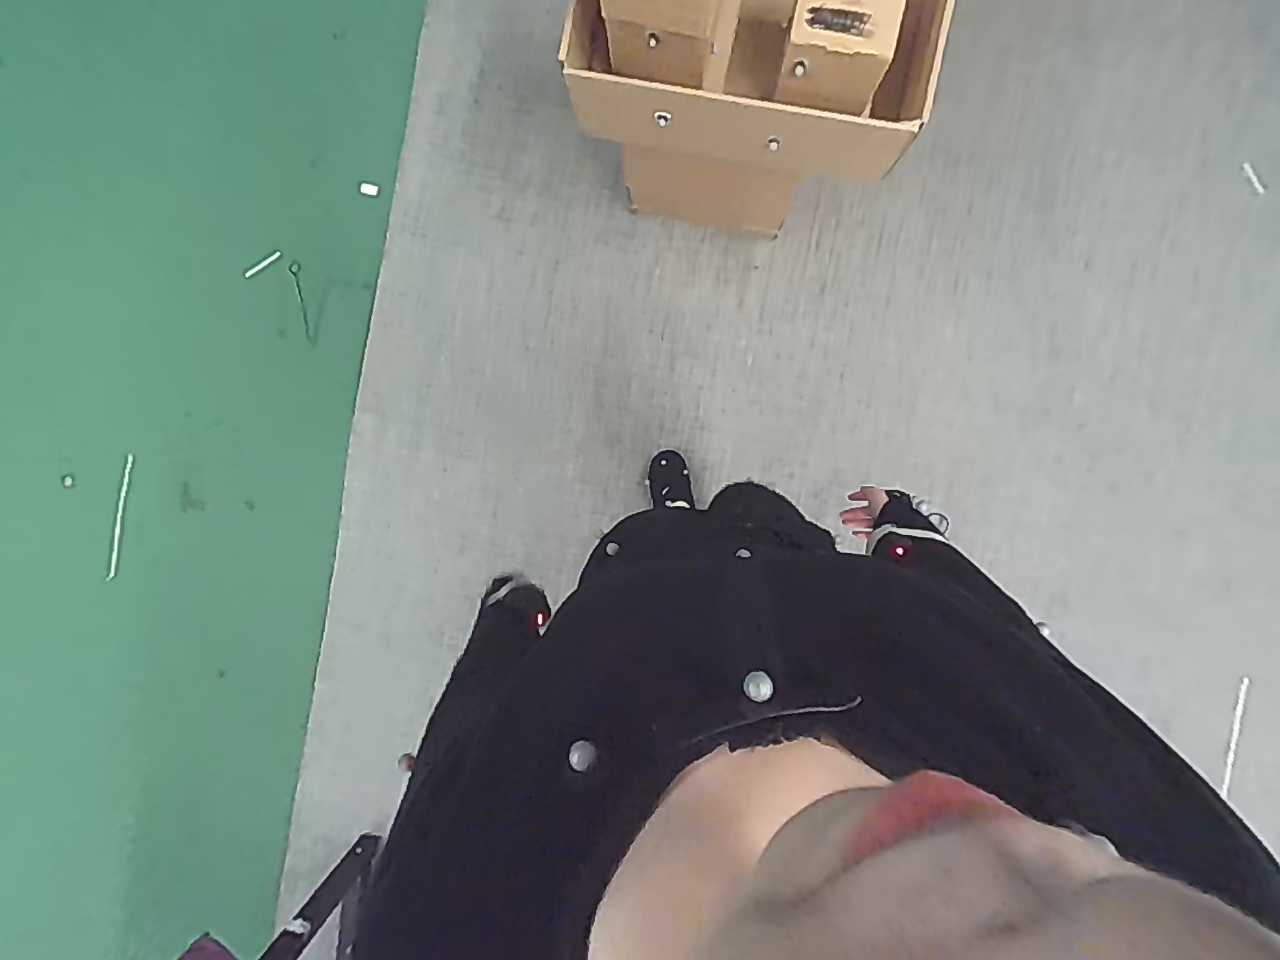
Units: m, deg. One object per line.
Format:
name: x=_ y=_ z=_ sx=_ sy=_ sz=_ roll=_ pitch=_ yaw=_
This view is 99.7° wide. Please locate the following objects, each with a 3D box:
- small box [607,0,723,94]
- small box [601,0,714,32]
small box: x=0.046 y=-0.814 z=0.937 sx=0.179 sy=0.176 sz=0.168 roll=13 pitch=92 yaw=2
small box: x=0.034 y=-0.797 z=0.775 sx=0.179 sy=0.176 sz=0.168 roll=14 pitch=92 yaw=2
